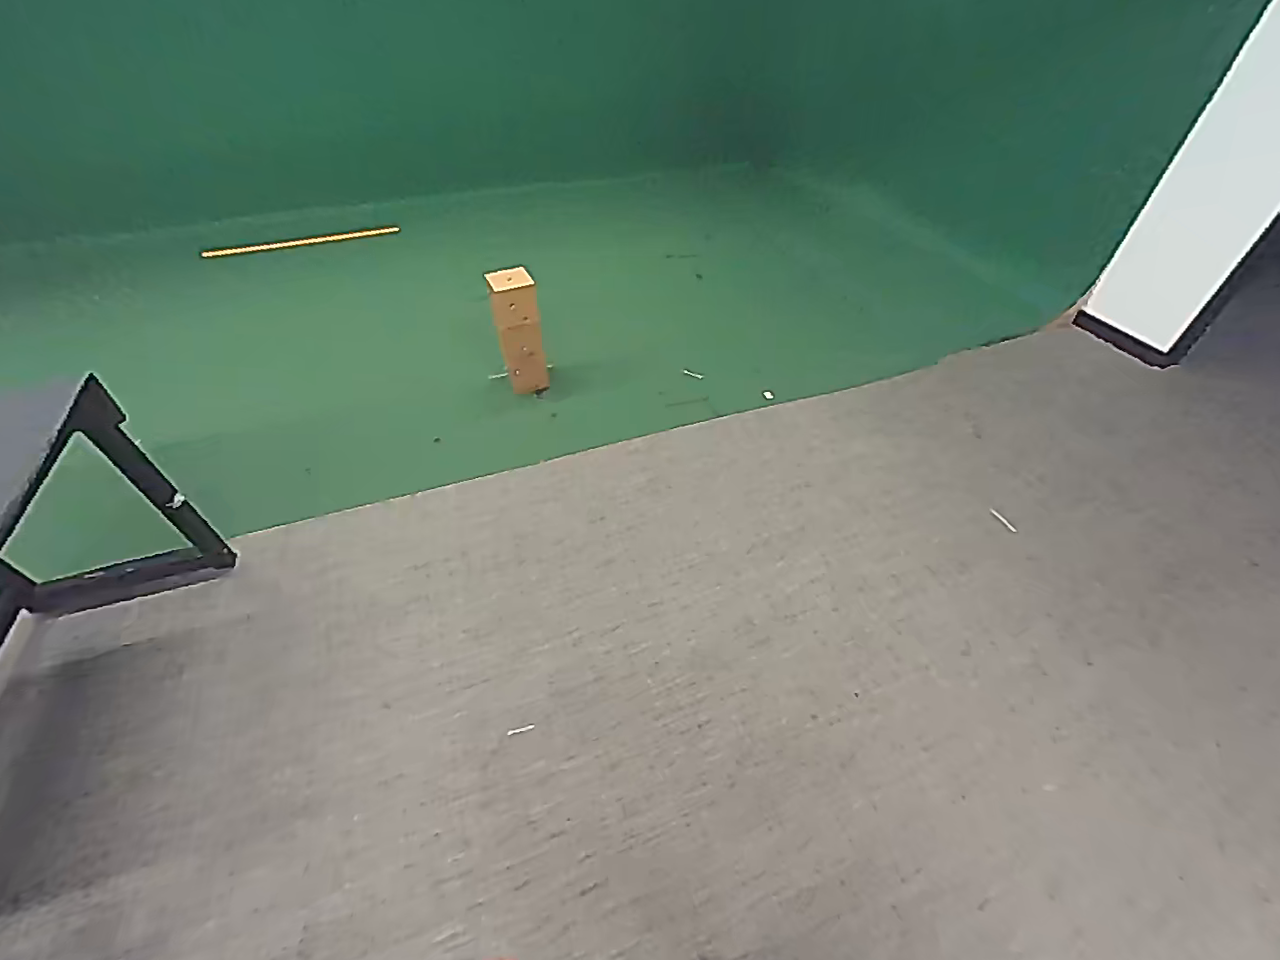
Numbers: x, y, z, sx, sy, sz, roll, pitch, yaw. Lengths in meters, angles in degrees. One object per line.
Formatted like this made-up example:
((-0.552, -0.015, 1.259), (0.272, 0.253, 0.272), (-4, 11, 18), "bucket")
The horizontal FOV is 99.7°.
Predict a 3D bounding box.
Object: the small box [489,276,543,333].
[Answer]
((-0.518, -0.733, 2.276), (0.168, 0.176, 0.179), (-19, 47, -17), "small box")

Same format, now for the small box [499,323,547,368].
((-0.518, -0.620, 2.392), (0.168, 0.176, 0.179), (-17, 47, -15), "small box")
